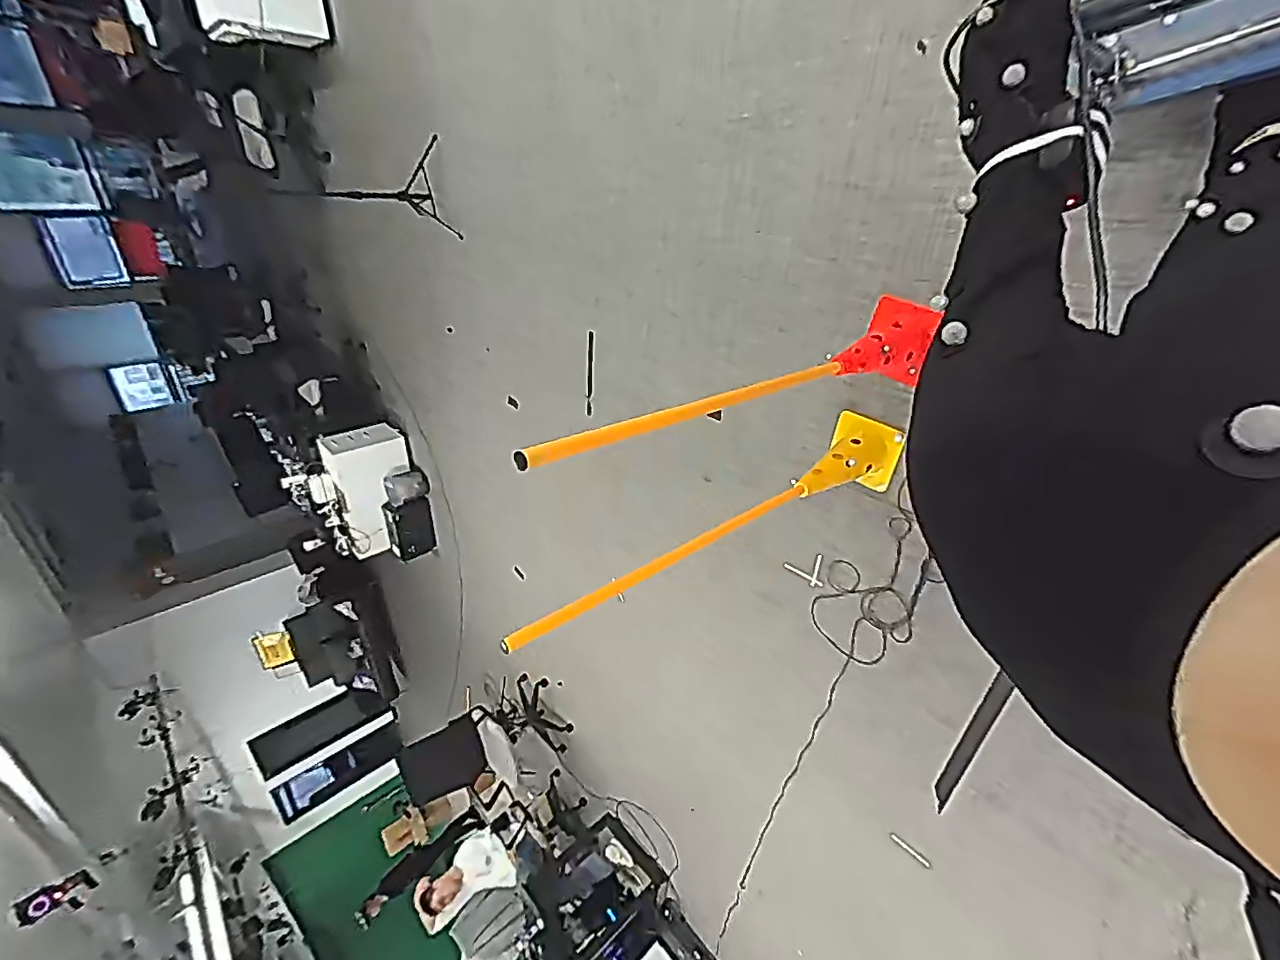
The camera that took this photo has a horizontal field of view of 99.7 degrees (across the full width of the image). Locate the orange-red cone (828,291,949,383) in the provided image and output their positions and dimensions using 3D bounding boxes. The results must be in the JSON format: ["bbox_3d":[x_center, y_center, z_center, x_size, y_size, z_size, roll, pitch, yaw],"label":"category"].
[{"bbox_3d":[0.557,-0.321,1.307,0.198,0.360,0.199,36,131,32],"label":"orange-red cone"}]
